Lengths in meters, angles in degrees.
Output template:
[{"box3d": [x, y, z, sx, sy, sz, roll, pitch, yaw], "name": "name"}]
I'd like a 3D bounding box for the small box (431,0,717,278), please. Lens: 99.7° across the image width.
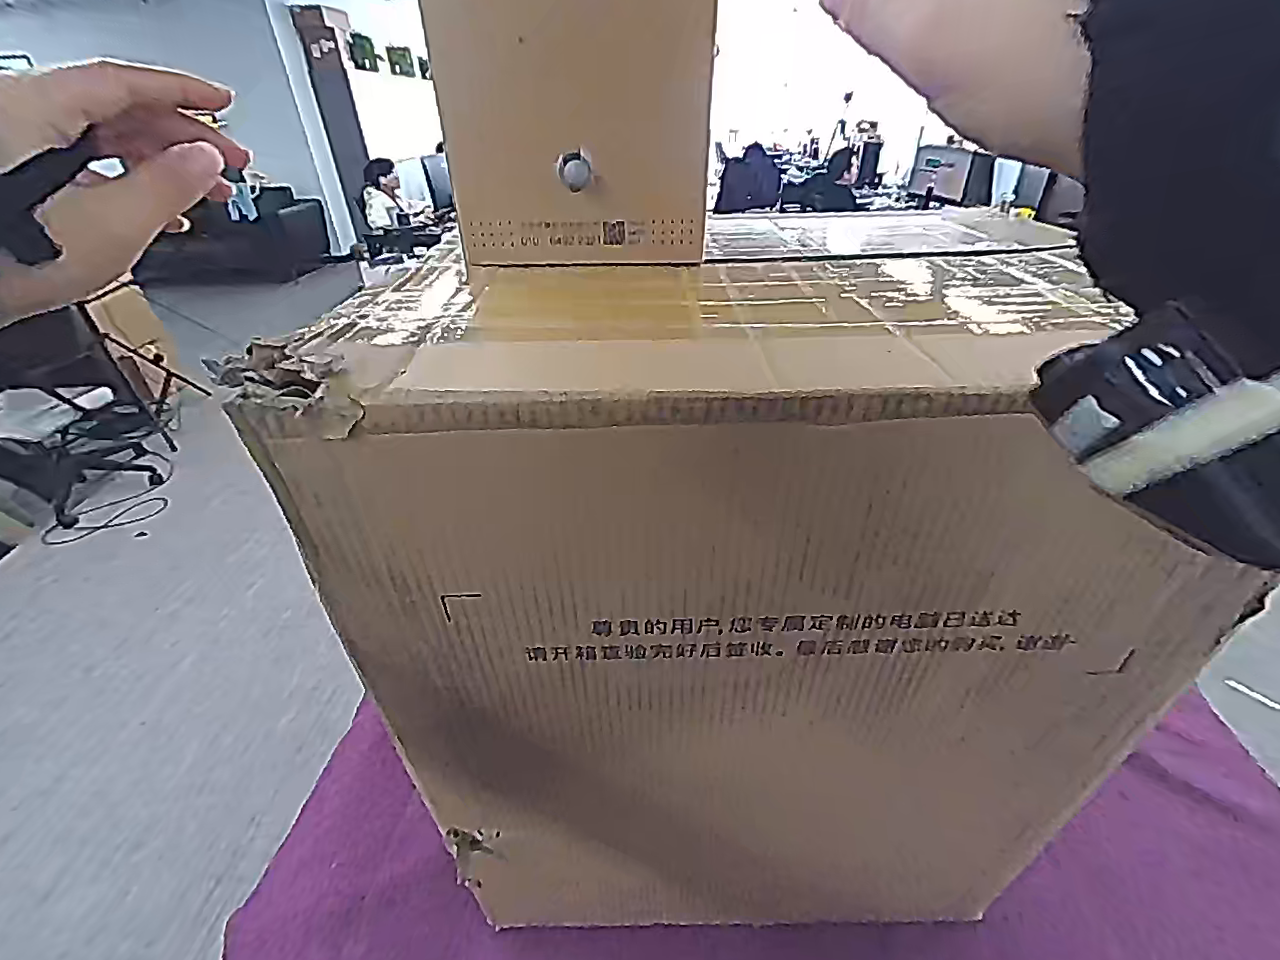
[{"box3d": [-0.038, -0.260, 0.408, 0.168, 0.176, 0.179, -1, 34, 0], "name": "small box"}]
